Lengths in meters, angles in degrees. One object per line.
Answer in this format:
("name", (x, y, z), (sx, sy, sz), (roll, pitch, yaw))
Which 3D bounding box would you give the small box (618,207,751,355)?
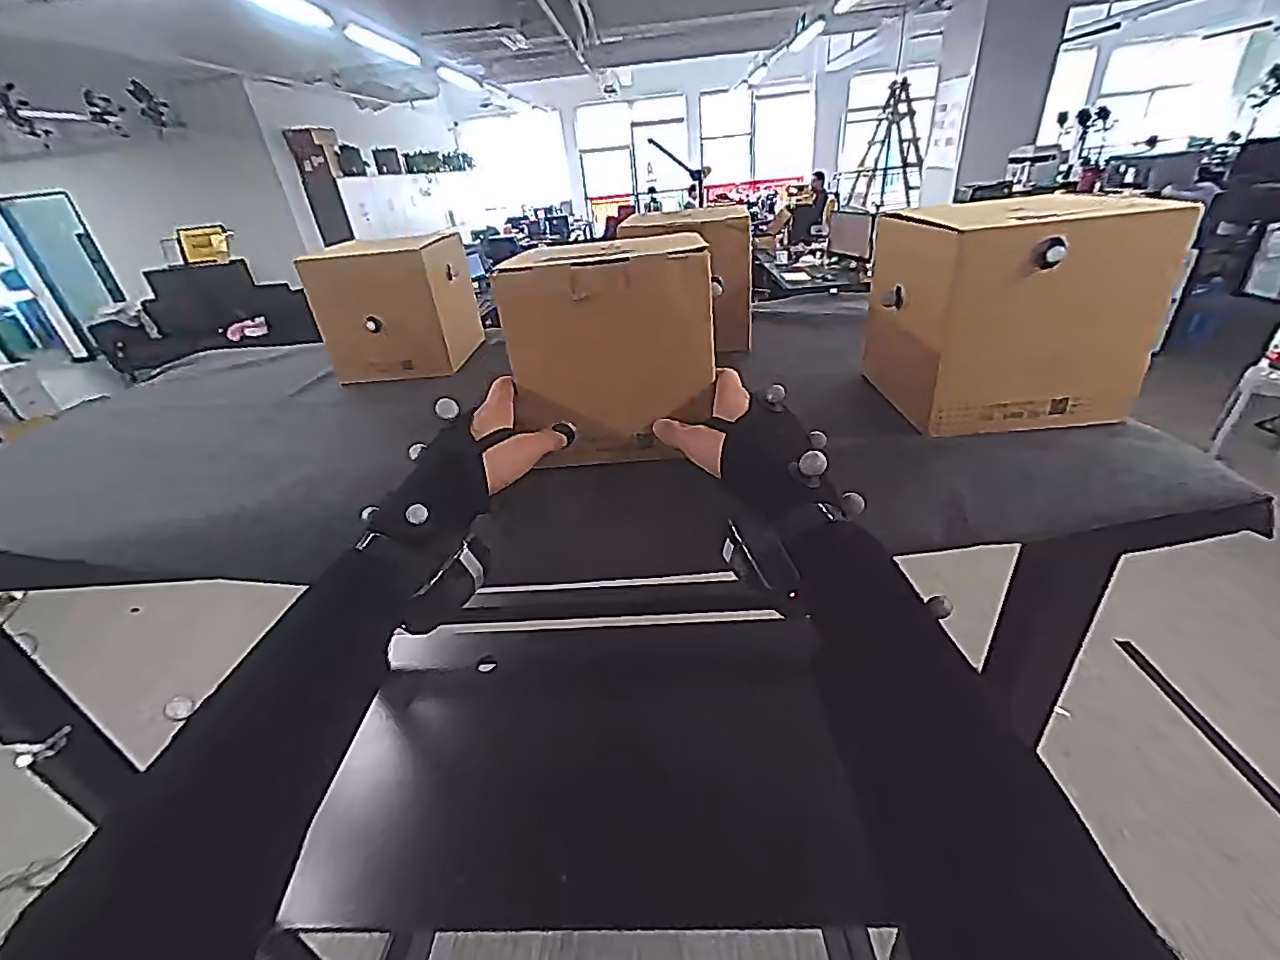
("small box", (0.070, -0.279, 0.763), (0.168, 0.176, 0.179), (0, 30, 8))

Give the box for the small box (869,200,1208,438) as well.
("small box", (0.322, -0.150, 0.489), (0.168, 0.176, 0.179), (-5, 29, 4))

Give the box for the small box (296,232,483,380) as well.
("small box", (-0.341, -0.249, 0.781), (0.168, 0.176, 0.179), (-3, 31, 3))

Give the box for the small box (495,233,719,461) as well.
("small box", (-0.017, -0.123, 0.505), (0.168, 0.176, 0.179), (-4, 28, 4))
